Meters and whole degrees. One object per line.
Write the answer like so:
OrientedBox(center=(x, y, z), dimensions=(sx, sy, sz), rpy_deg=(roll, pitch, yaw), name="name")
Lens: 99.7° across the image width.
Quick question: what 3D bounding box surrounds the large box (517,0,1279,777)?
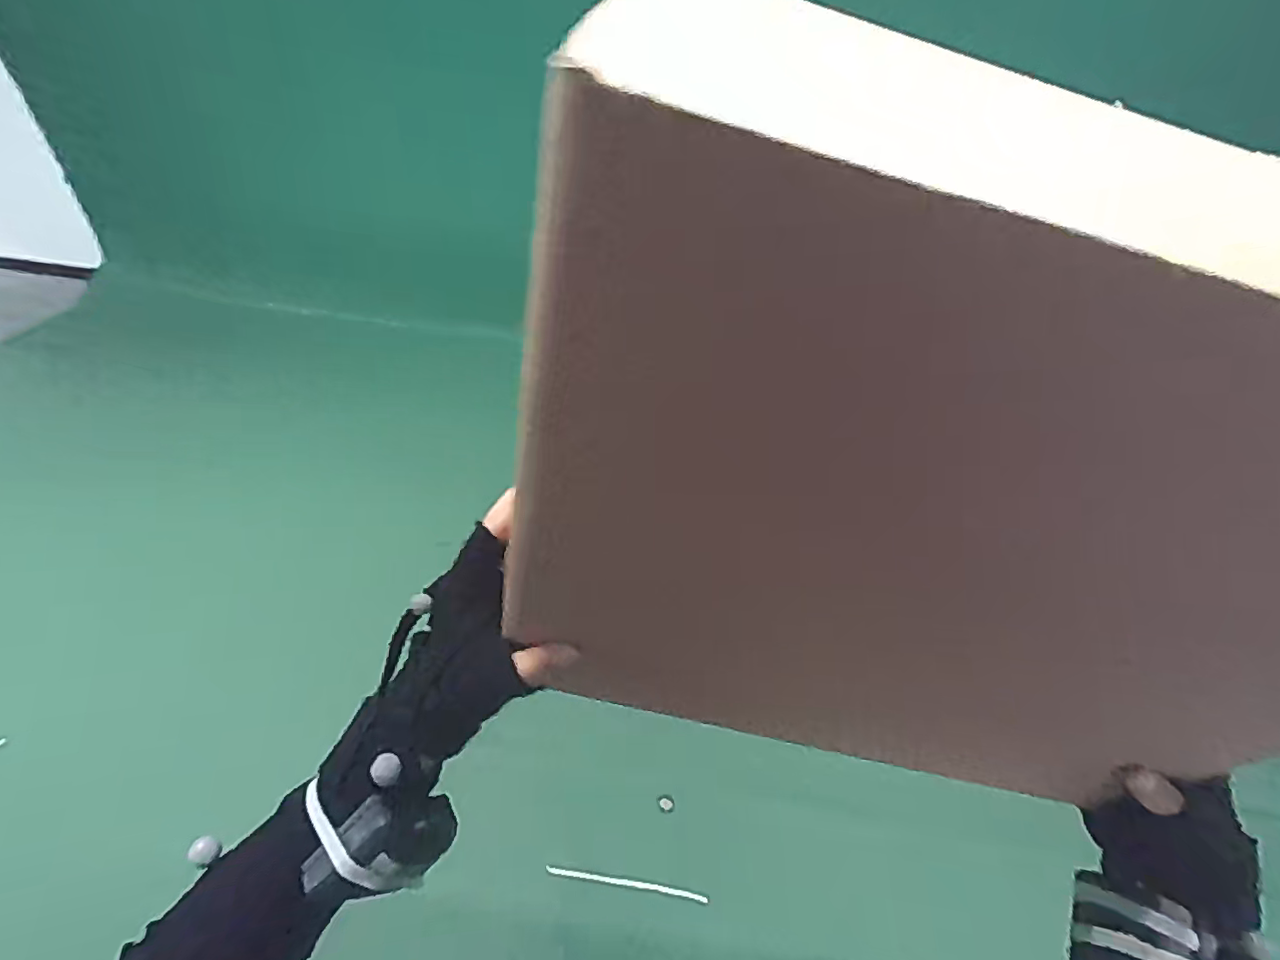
OrientedBox(center=(0.164, -0.044, 0.348), dimensions=(0.408, 0.320, 0.320), rpy_deg=(15, 47, -6), name="large box")
